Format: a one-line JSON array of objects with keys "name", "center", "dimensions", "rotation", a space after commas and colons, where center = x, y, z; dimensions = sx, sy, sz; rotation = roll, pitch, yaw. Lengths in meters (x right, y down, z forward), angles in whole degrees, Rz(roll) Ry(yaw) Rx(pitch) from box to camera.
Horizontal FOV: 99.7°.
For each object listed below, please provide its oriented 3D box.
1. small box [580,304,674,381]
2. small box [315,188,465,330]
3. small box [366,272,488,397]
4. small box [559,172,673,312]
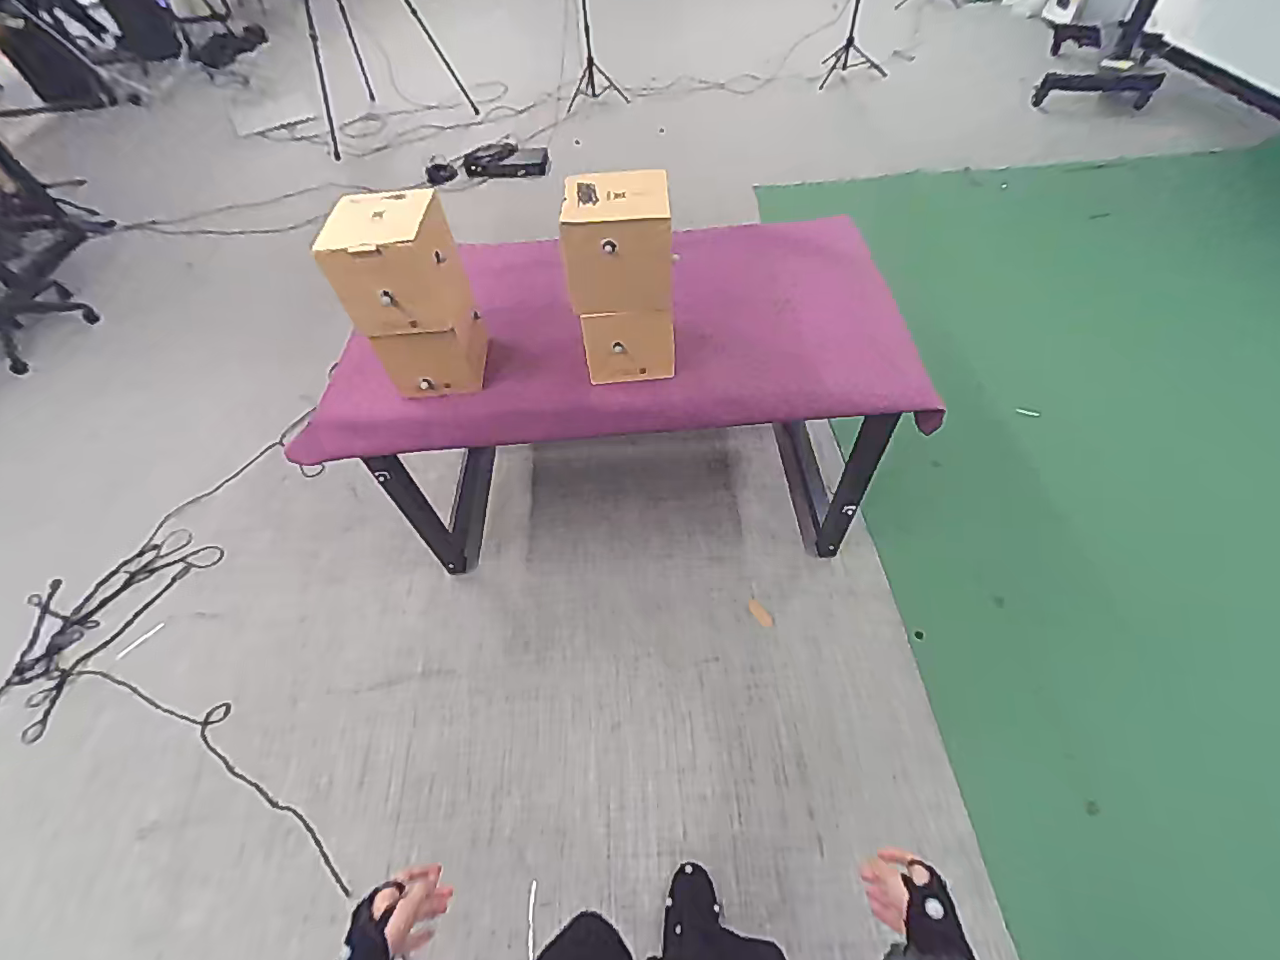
[{"name": "small box", "center": [-0.023, -0.311, 1.073], "dimensions": [0.168, 0.176, 0.179], "rotation": [-5, 52, 1]}, {"name": "small box", "center": [-0.420, -0.377, 0.945], "dimensions": [0.168, 0.176, 0.179], "rotation": [-3, 54, 2]}, {"name": "small box", "center": [-0.412, -0.289, 1.083], "dimensions": [0.168, 0.176, 0.179], "rotation": [-5, 54, 1]}, {"name": "small box", "center": [-0.033, -0.409, 0.941], "dimensions": [0.179, 0.176, 0.168], "rotation": [-2, 52, 2]}]
